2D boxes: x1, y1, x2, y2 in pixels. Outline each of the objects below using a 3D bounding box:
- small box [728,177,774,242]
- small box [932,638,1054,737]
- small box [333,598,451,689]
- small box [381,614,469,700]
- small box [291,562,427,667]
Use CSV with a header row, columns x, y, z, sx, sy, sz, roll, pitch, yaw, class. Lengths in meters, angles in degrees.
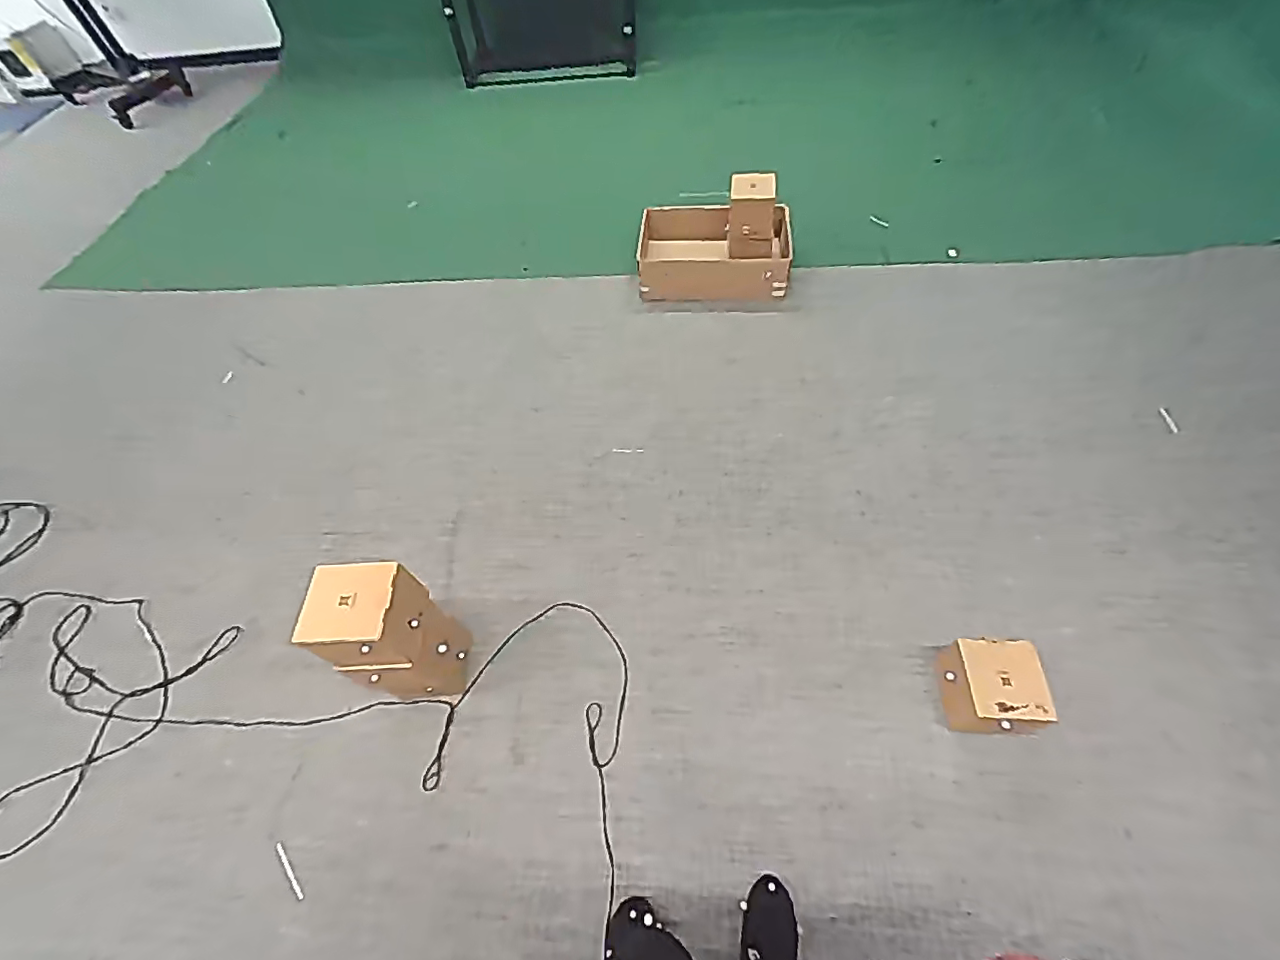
x,y,z,sx,sy,sz,roll,pitch,yaw,class
0.433,-1.063,2.124,0.168,0.176,0.179,3,57,8,small box
0.812,0.489,1.269,0.168,0.176,0.179,1,55,6,small box
-0.572,0.386,1.270,0.179,0.176,0.168,-3,55,2,small box
-0.563,0.465,1.414,0.179,0.176,0.168,-6,54,1,small box
-0.579,0.288,1.140,0.179,0.176,0.168,-4,55,2,small box
